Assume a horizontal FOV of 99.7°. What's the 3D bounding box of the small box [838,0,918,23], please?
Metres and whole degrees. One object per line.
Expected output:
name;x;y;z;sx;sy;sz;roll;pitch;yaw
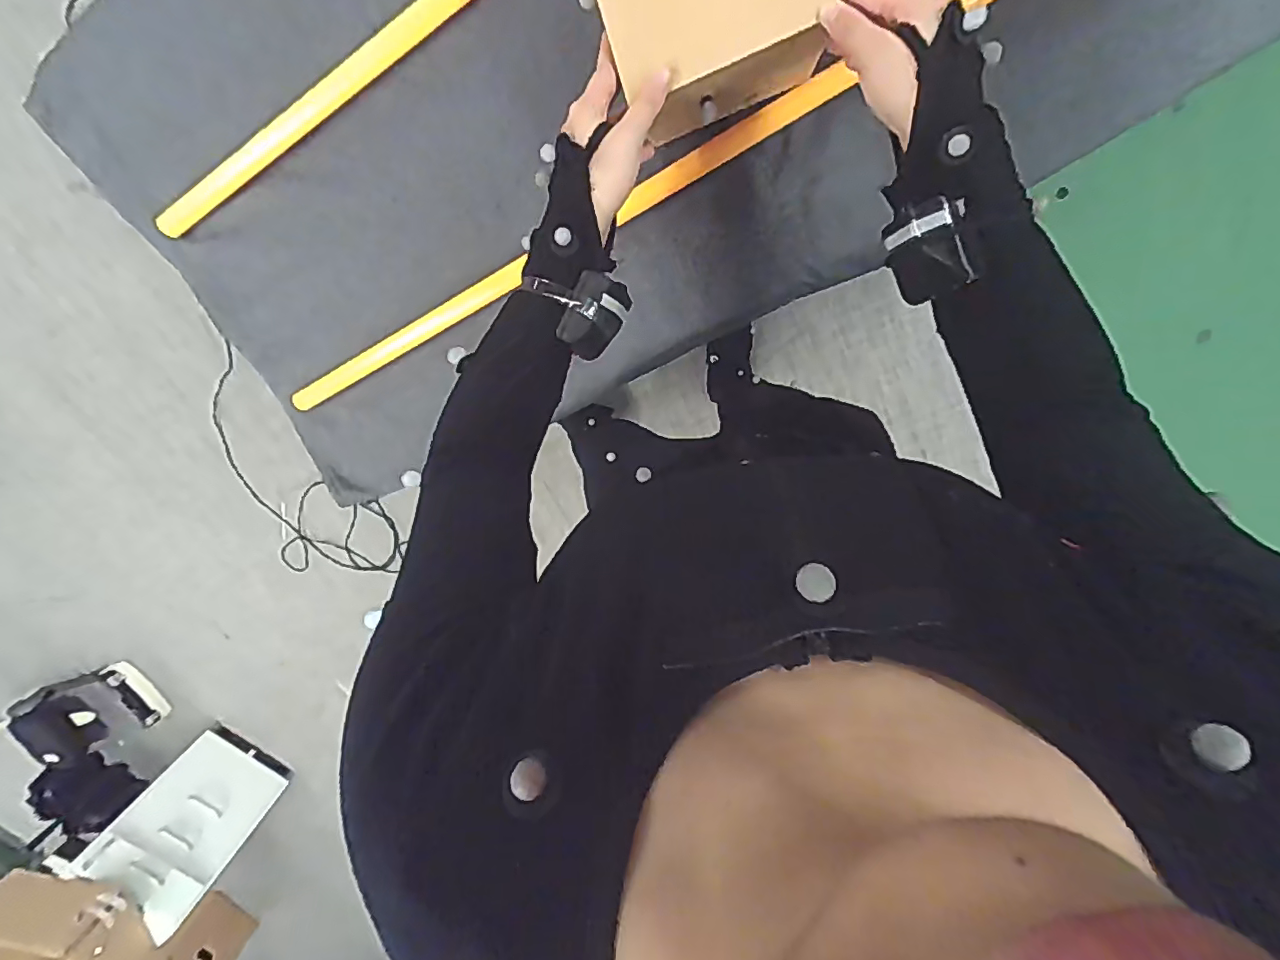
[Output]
small box;0.229;-0.488;0.401;0.168;0.176;0.179;-20;110;17
